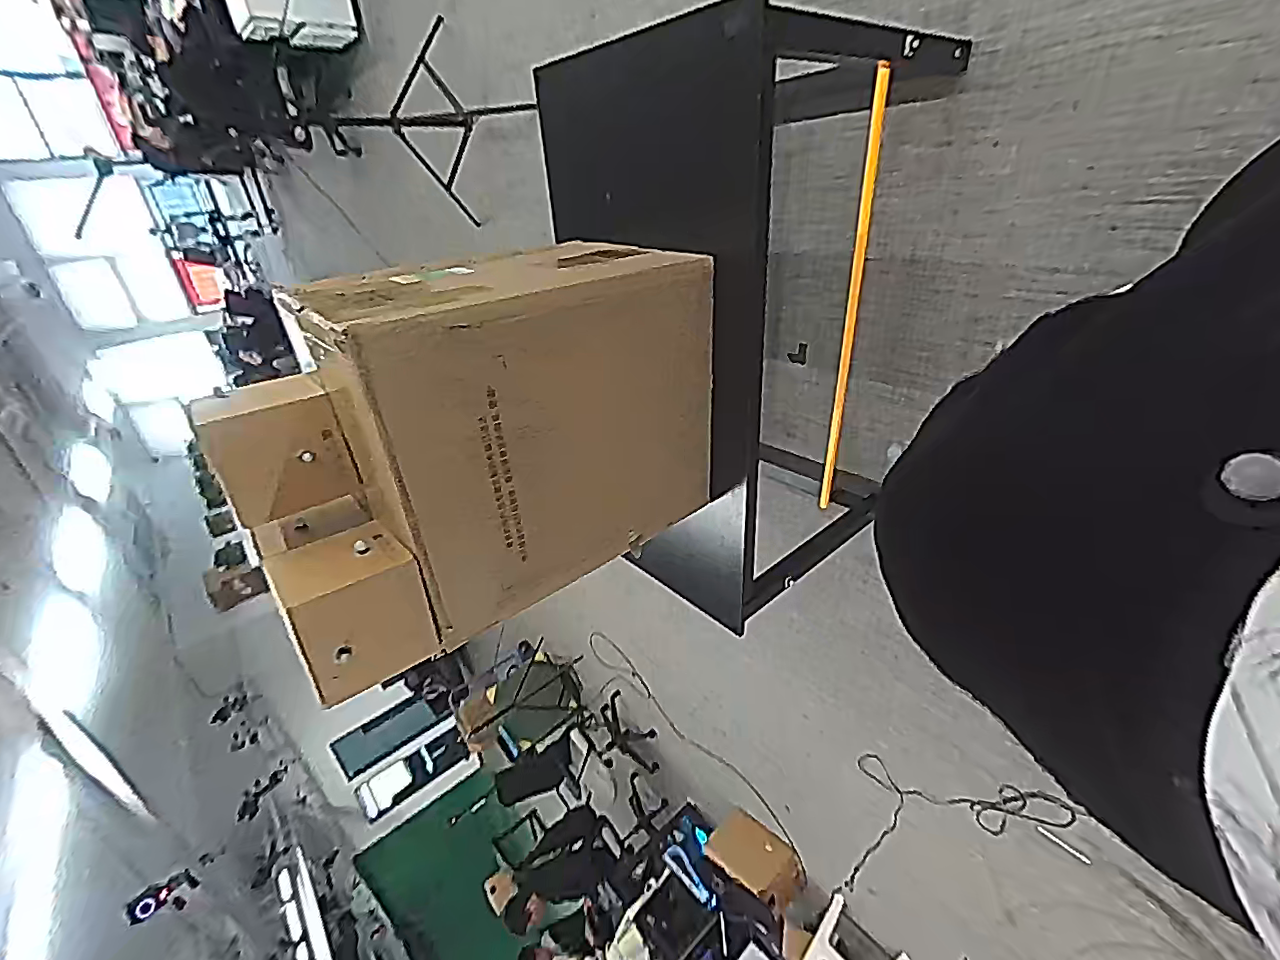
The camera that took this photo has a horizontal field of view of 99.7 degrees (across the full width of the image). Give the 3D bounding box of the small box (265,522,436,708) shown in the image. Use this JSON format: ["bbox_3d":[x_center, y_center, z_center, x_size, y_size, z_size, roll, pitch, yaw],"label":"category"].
[{"bbox_3d":[-0.426,0.191,0.811,0.168,0.176,0.179,24,126,44],"label":"small box"}]

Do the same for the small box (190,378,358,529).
[{"bbox_3d":[-0.568,-0.053,0.851,0.179,0.176,0.168,27,133,46],"label":"small box"}]
